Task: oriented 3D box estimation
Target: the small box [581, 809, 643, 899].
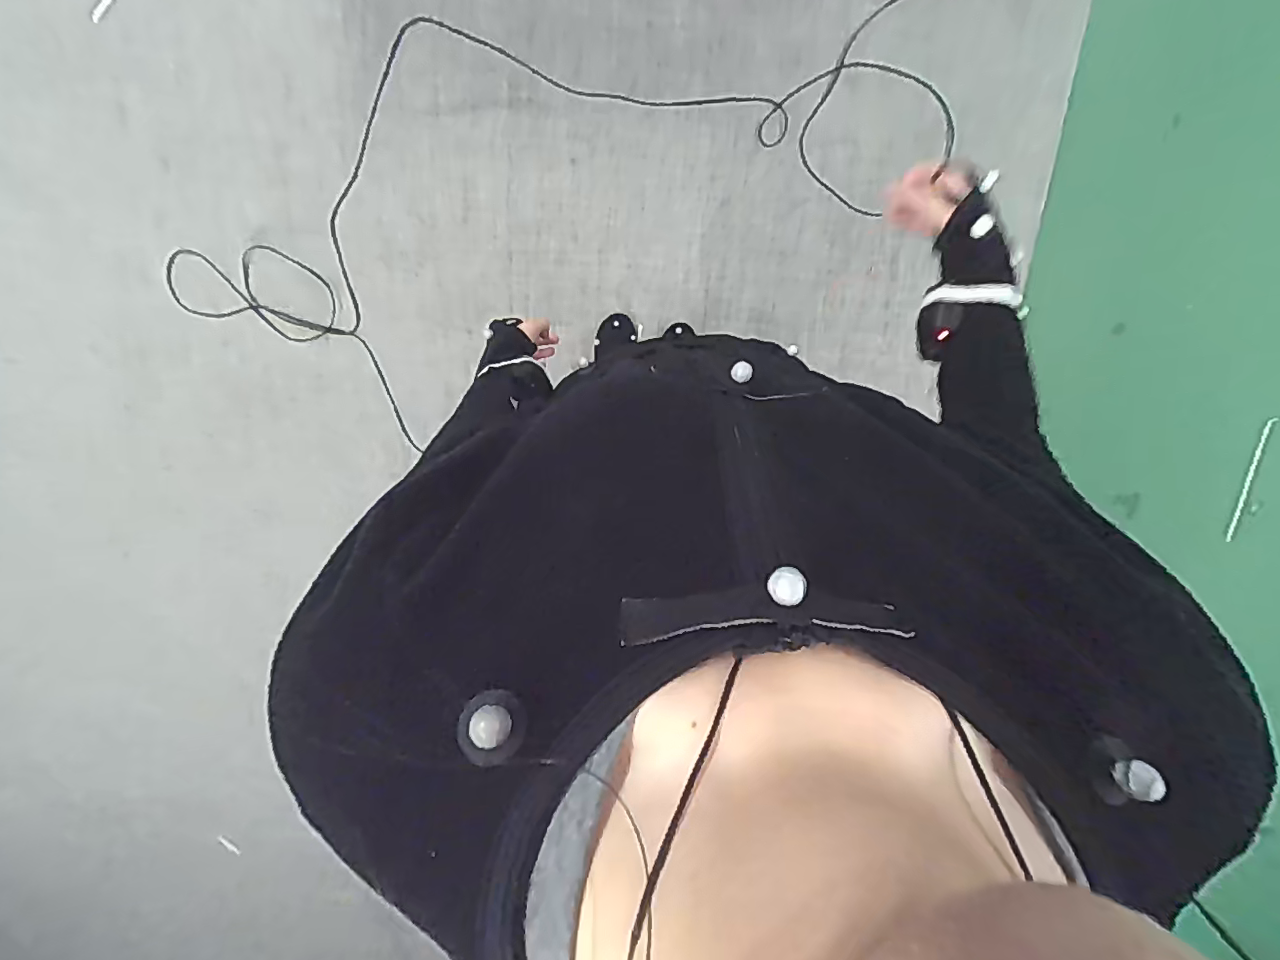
[{"bbox_3d":[-0.088,1.146,1.664,0.179,0.176,0.168,2,103,-4],"label":"small box"}]
